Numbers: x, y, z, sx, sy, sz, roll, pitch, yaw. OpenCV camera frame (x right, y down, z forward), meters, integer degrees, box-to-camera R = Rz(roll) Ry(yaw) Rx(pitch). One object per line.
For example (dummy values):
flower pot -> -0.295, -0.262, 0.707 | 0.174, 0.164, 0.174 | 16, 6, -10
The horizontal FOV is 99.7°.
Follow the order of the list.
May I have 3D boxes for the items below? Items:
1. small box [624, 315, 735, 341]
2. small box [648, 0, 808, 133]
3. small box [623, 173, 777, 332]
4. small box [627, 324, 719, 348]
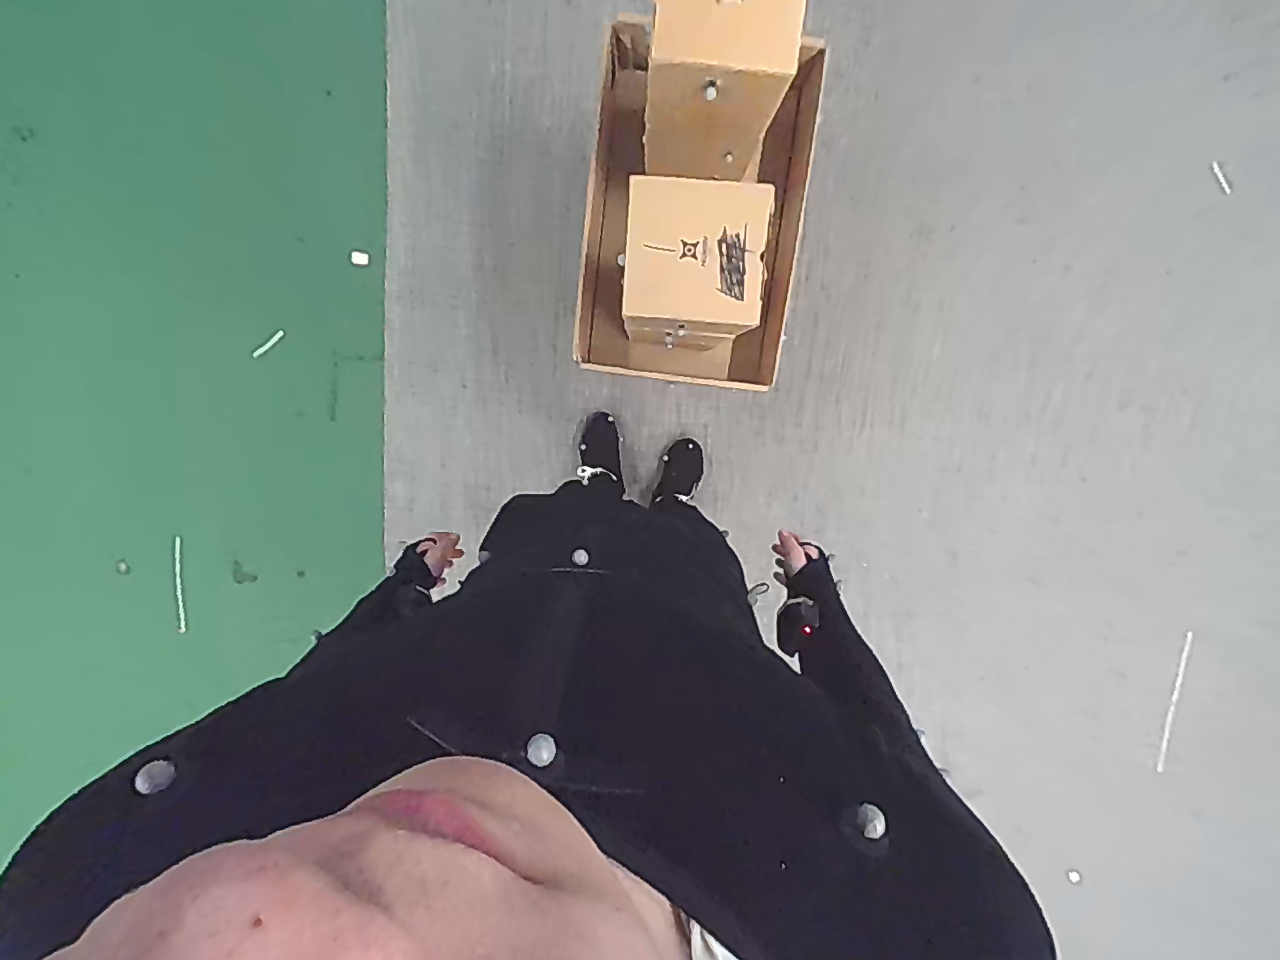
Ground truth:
small box -> 0.072, -0.327, 0.903 | 0.179, 0.176, 0.168 | 6, 102, 0
small box -> 0.106, -0.575, 0.694 | 0.179, 0.176, 0.168 | 6, 100, -1
small box -> 0.072, -0.297, 0.740 | 0.179, 0.176, 0.168 | 5, 101, 0
small box -> 0.071, -0.356, 1.064 | 0.179, 0.176, 0.168 | 8, 101, -3
